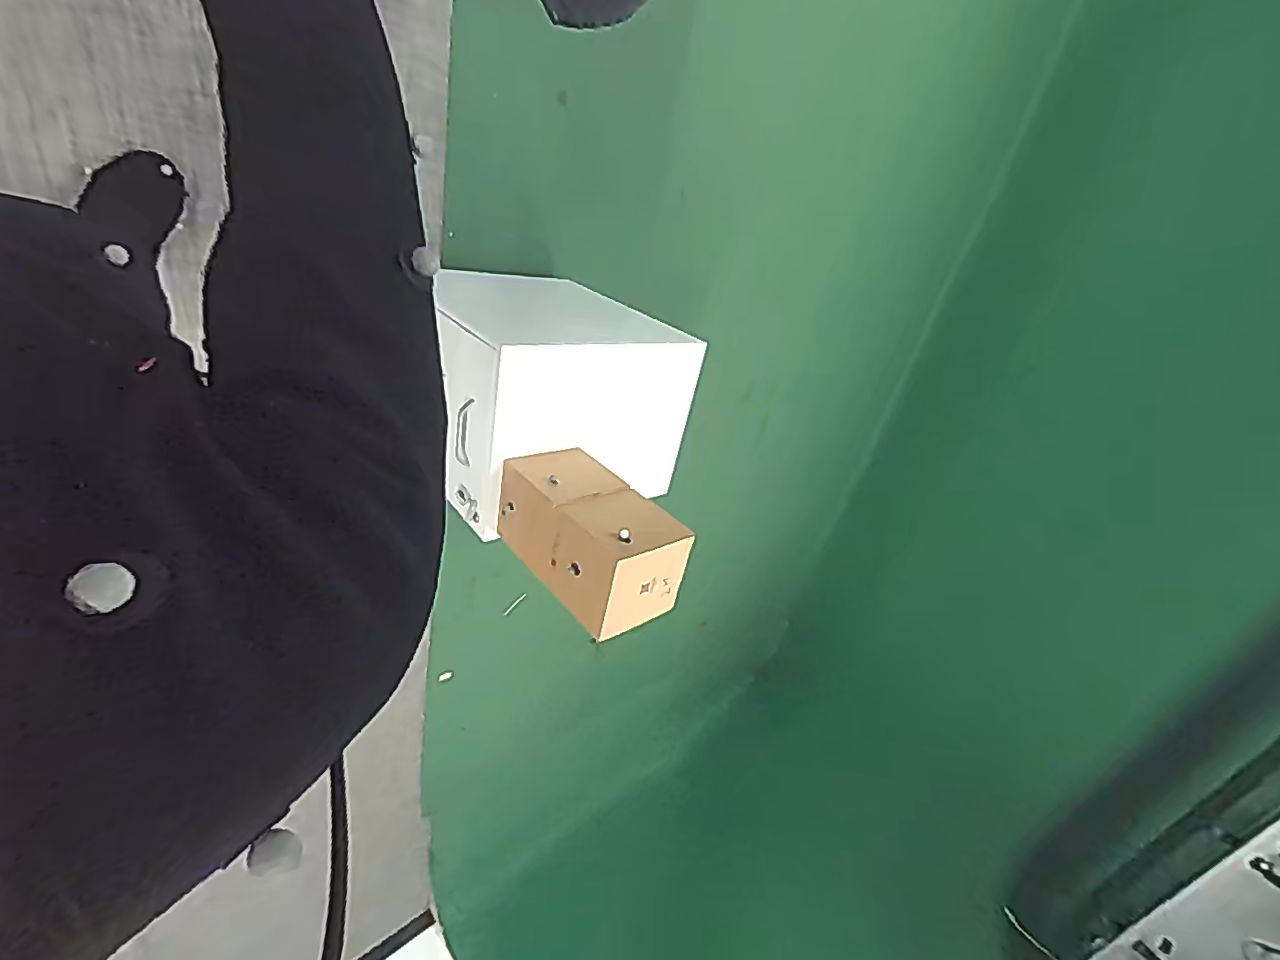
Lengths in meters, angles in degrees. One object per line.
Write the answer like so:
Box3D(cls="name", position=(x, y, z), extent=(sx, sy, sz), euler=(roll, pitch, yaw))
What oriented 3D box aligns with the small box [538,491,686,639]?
Box3D(cls="small box", position=(-0.055, 0.136, 0.936), extent=(0.179, 0.176, 0.168), euler=(-13, 127, -43))
